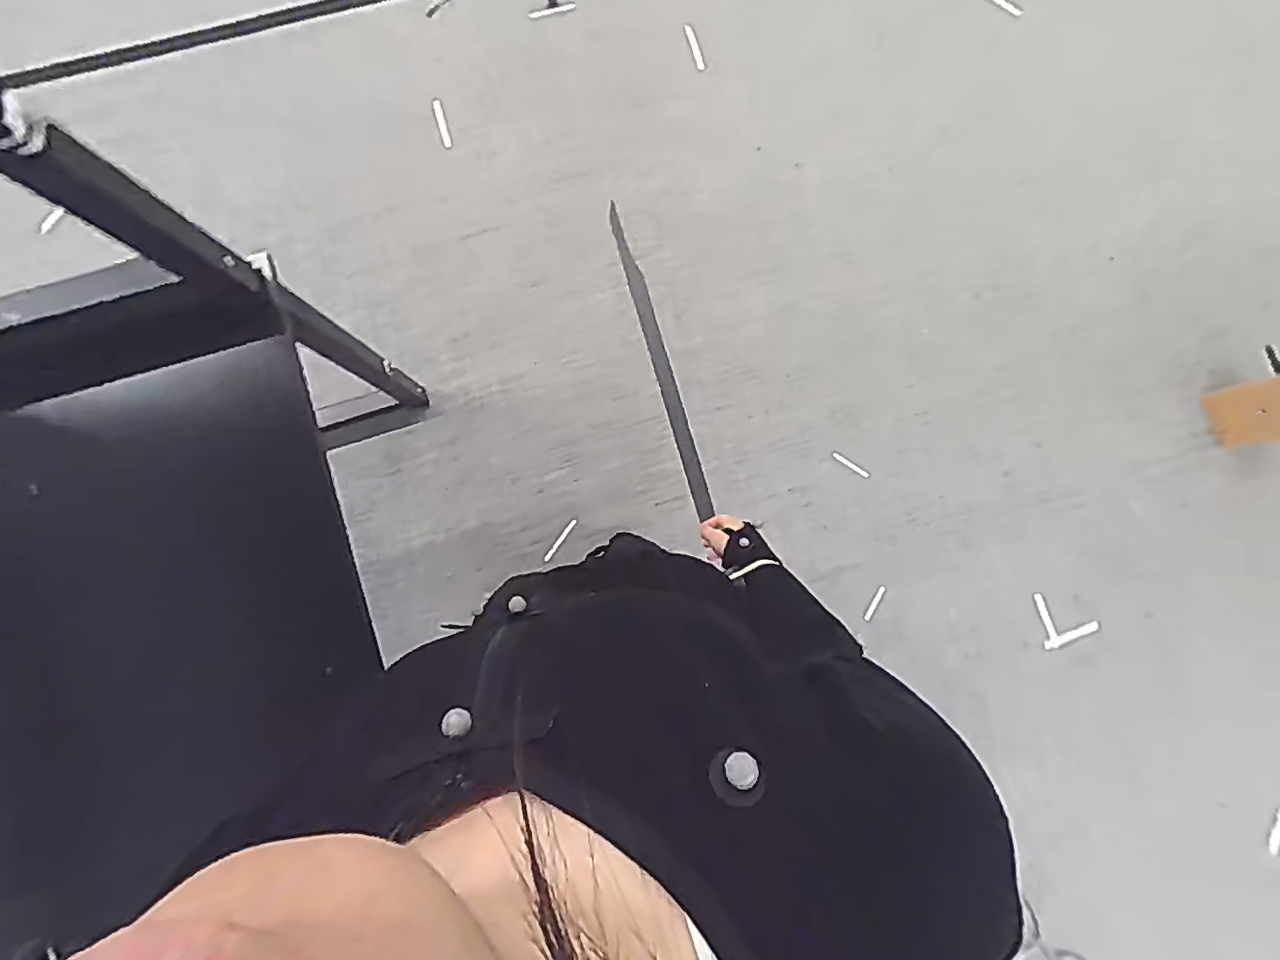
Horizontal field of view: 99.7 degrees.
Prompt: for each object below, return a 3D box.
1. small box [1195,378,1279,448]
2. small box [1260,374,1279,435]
[{"bbox_3d":[1.805,-0.200,1.579,0.168,0.176,0.179,-17,85,-5],"label":"small box"},{"bbox_3d":[1.809,-0.222,1.416,0.168,0.176,0.179,-15,85,-4],"label":"small box"}]
